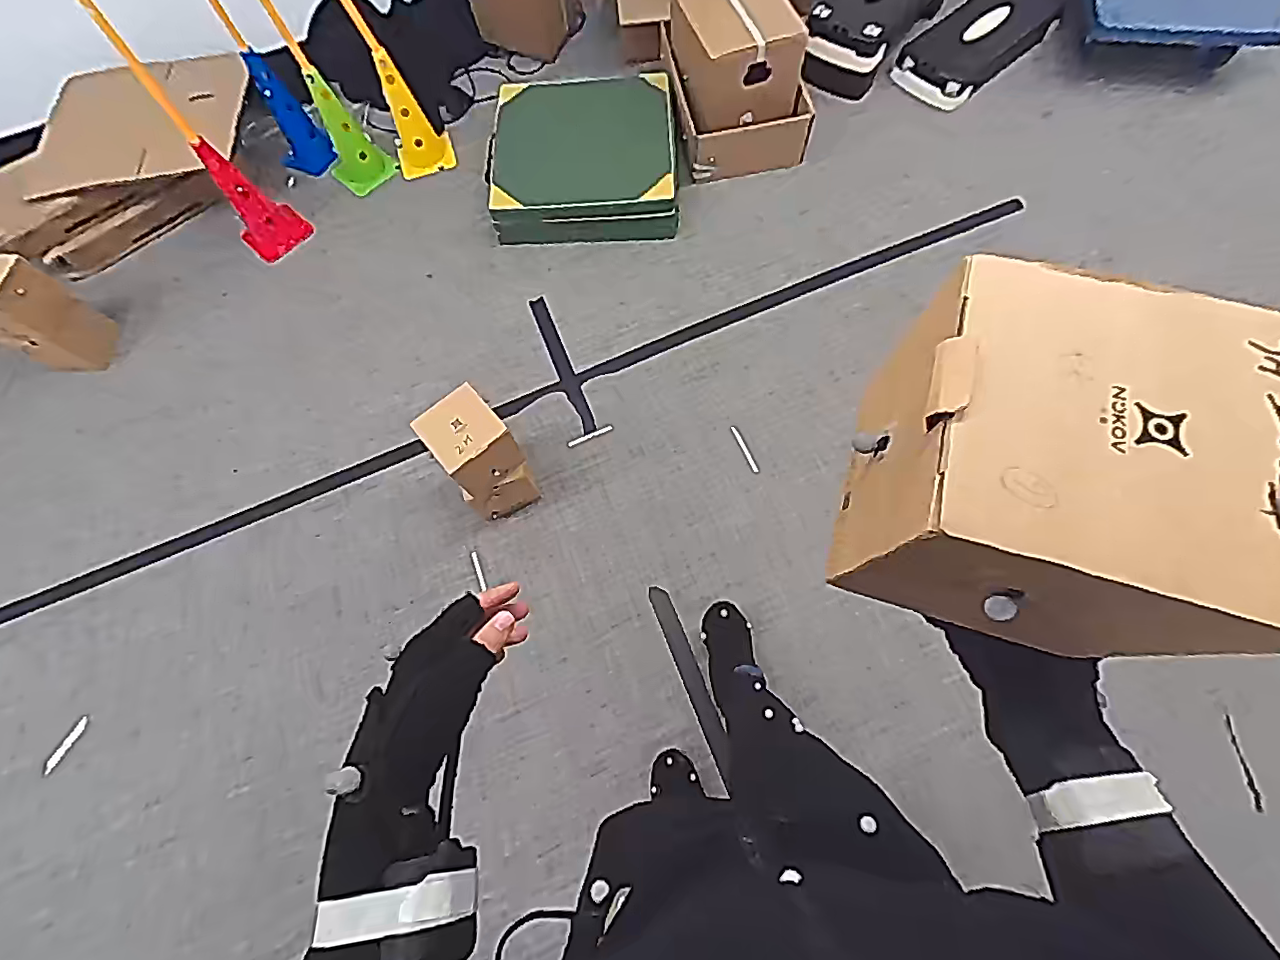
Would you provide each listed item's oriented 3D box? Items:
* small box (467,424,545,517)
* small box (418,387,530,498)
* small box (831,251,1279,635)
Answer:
[{"bbox_3d":[-0.374,-0.017,1.459,0.168,0.176,0.179,-24,68,-5],"label":"small box"},{"bbox_3d":[-0.394,-0.084,1.310,0.168,0.176,0.179,-37,73,-8],"label":"small box"},{"bbox_3d":[0.235,-0.007,0.338,0.179,0.176,0.168,13,72,7],"label":"small box"}]
